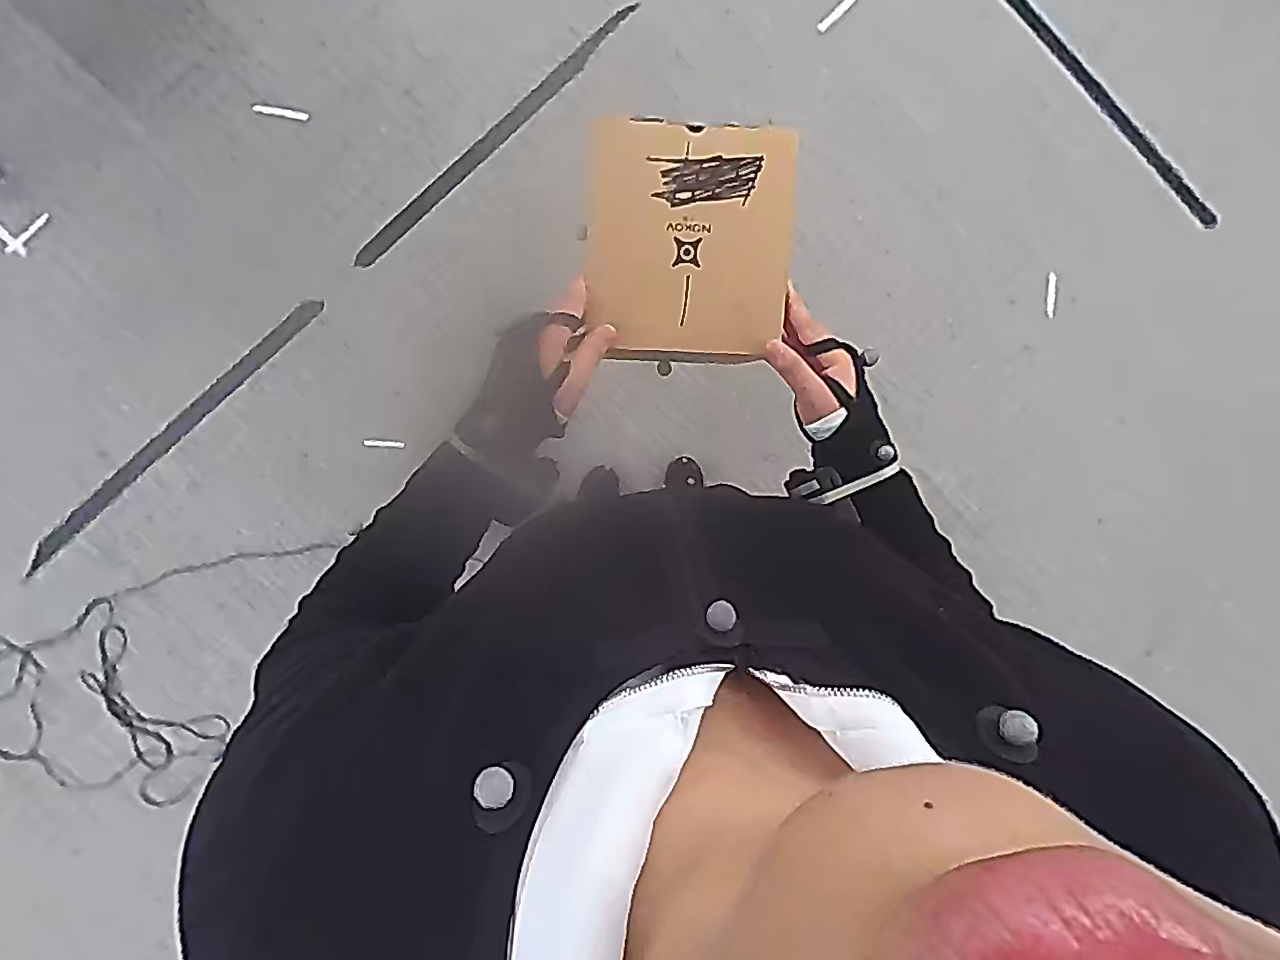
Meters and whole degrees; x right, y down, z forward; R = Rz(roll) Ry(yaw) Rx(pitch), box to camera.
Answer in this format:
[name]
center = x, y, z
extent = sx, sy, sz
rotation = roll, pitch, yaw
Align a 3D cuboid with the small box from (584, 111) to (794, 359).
[small box]
center = 0.035, -0.211, 0.513
extent = 0.168, 0.176, 0.179
rotation = 1, 100, -2
